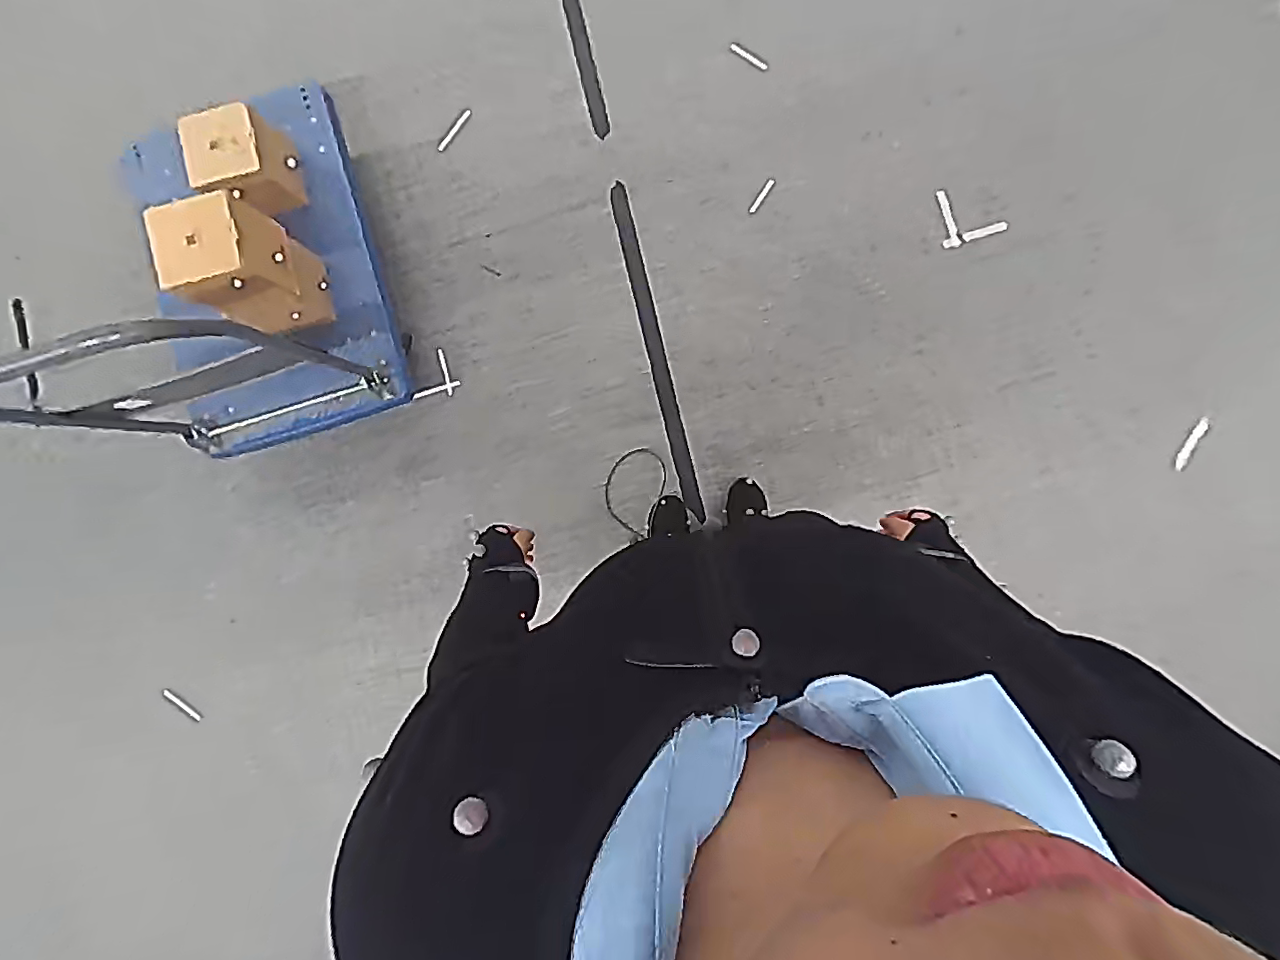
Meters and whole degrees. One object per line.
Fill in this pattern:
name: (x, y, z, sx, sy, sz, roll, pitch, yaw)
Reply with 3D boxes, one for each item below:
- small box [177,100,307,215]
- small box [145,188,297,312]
small box: (-0.955, -0.765, 1.309, 0.179, 0.176, 0.168, -12, 90, 3)
small box: (-0.872, -0.473, 1.140, 0.179, 0.176, 0.168, -14, 89, 2)
